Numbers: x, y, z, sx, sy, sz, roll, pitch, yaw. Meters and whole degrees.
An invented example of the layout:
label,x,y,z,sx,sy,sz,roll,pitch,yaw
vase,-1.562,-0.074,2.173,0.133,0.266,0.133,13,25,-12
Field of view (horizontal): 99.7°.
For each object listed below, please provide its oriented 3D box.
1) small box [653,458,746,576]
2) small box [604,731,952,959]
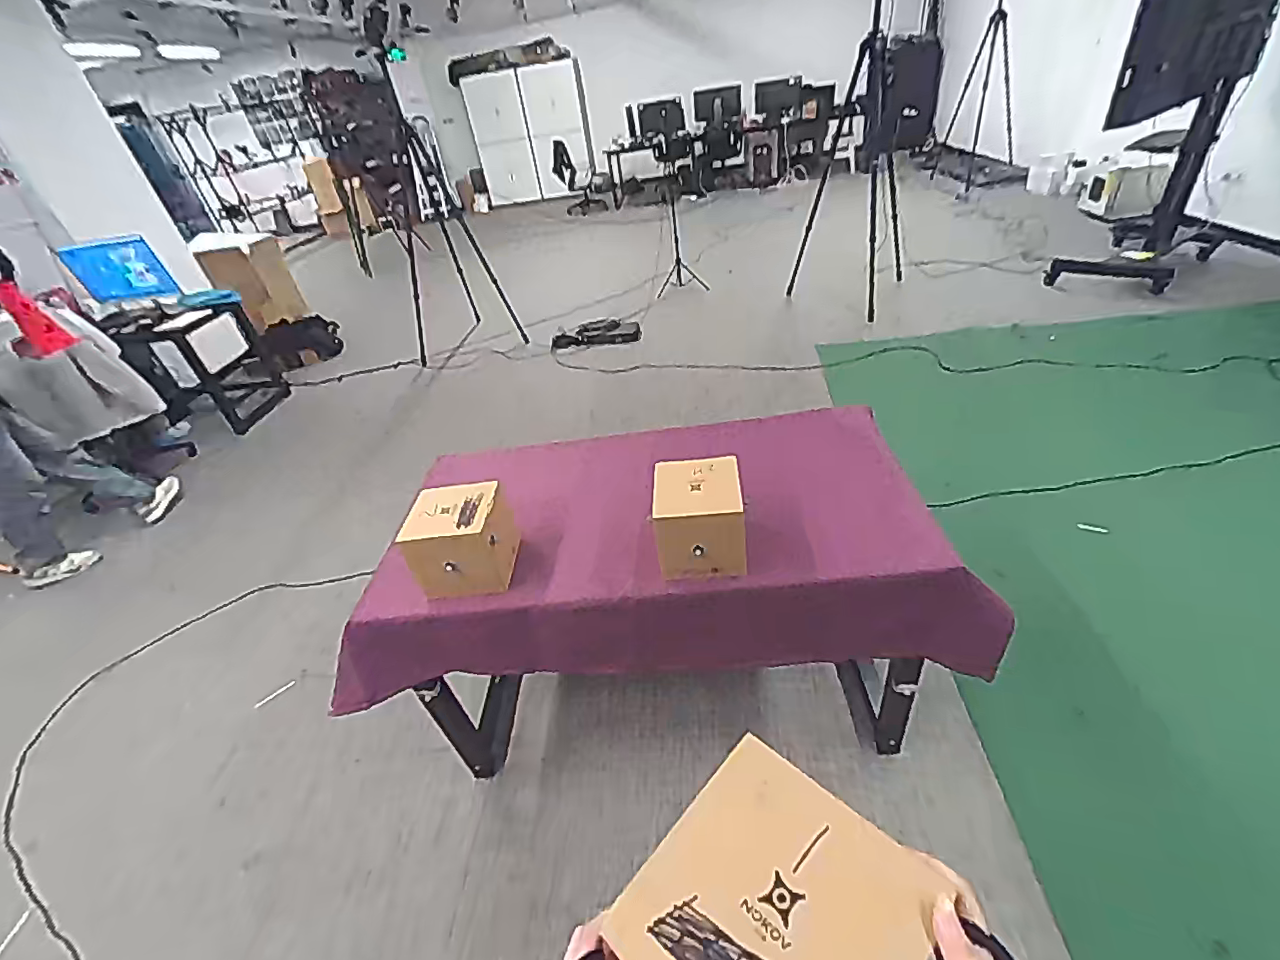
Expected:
label,x,y,z,sx,sy,sz,roll,pitch,yaw
small box,0.121,0.078,1.080,0.168,0.176,0.179,-4,37,8
small box,0.103,0.343,0.406,0.168,0.176,0.179,25,50,40
